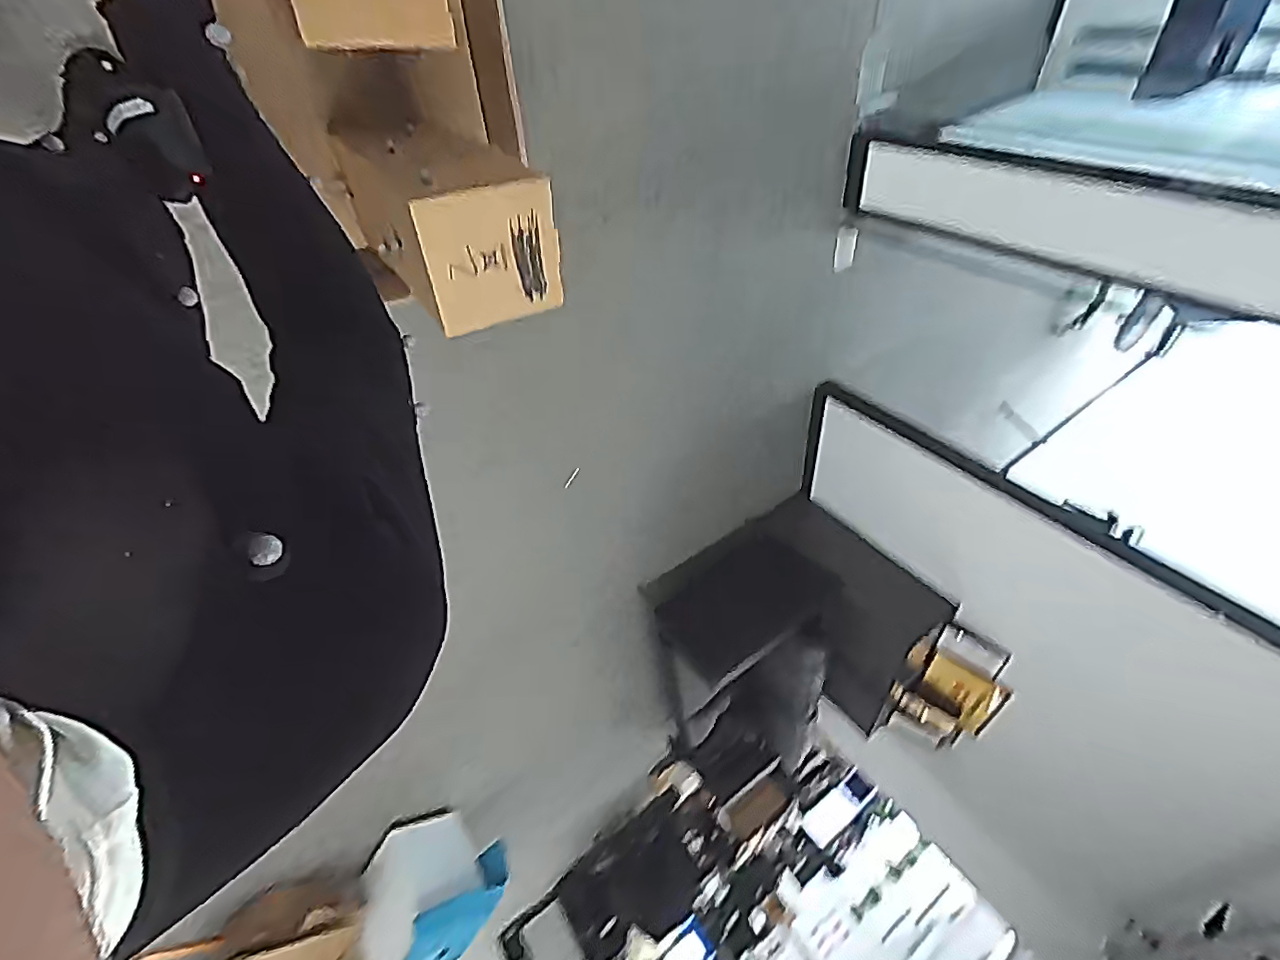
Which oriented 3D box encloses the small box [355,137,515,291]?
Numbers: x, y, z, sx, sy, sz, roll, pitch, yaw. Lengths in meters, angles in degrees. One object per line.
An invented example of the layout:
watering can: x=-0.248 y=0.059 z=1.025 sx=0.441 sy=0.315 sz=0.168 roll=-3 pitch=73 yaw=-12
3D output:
small box: x=-0.318 y=-0.414 z=0.833 sx=0.179 sy=0.176 sz=0.168 roll=-25 pitch=138 yaw=-24

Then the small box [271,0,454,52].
small box: x=-0.346 y=-0.613 z=0.638 sx=0.179 sy=0.176 sz=0.168 roll=-23 pitch=136 yaw=-27
